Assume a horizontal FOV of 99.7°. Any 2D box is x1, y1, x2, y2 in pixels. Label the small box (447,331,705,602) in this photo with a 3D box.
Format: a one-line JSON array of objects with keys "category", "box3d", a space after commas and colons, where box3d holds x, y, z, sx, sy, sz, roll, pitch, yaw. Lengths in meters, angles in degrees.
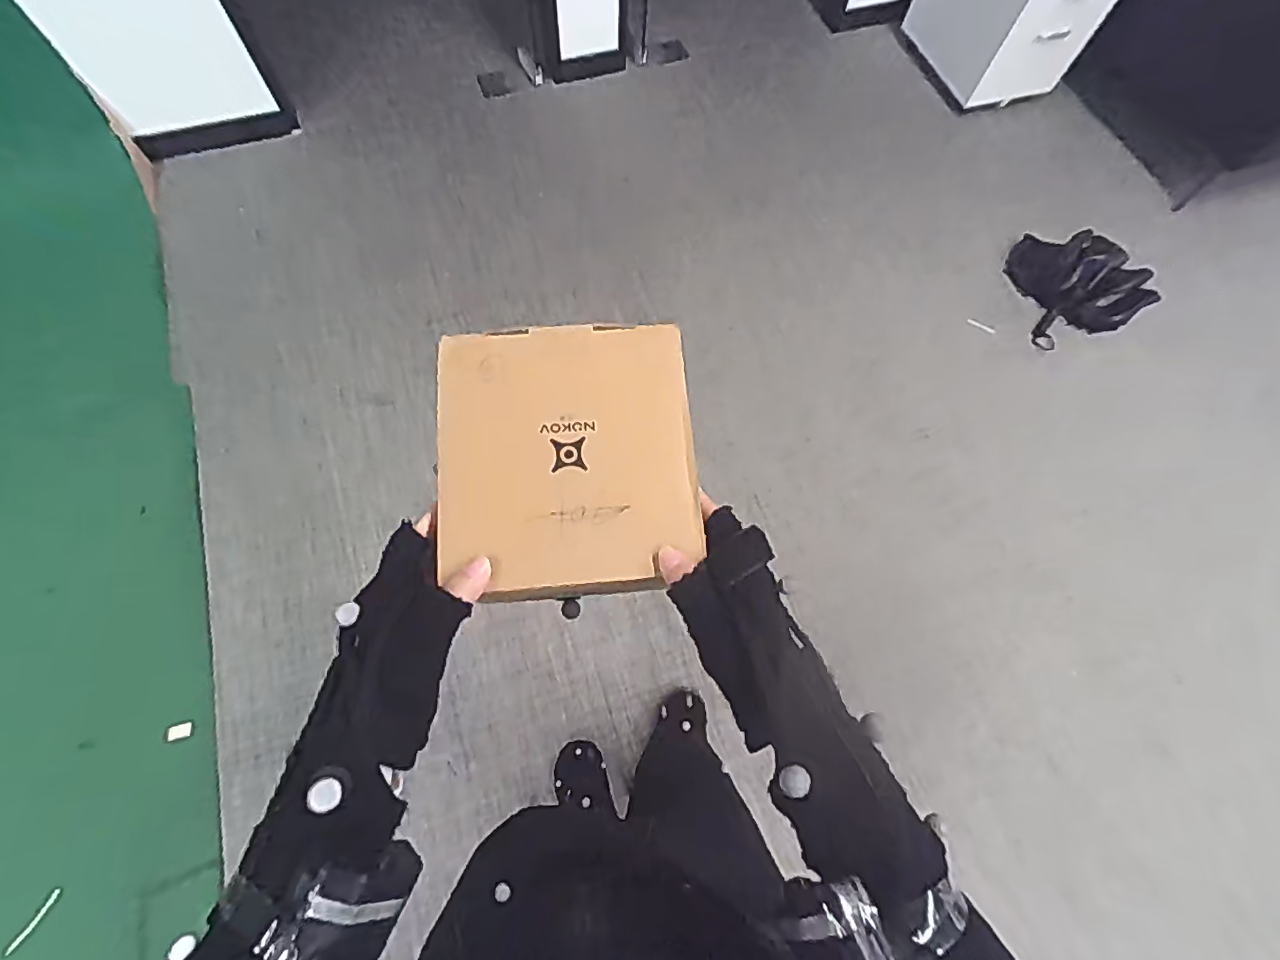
[{"category": "small box", "box3d": [-0.052, 0.001, 0.440, 0.168, 0.176, 0.179, -5, 76, -5]}]
